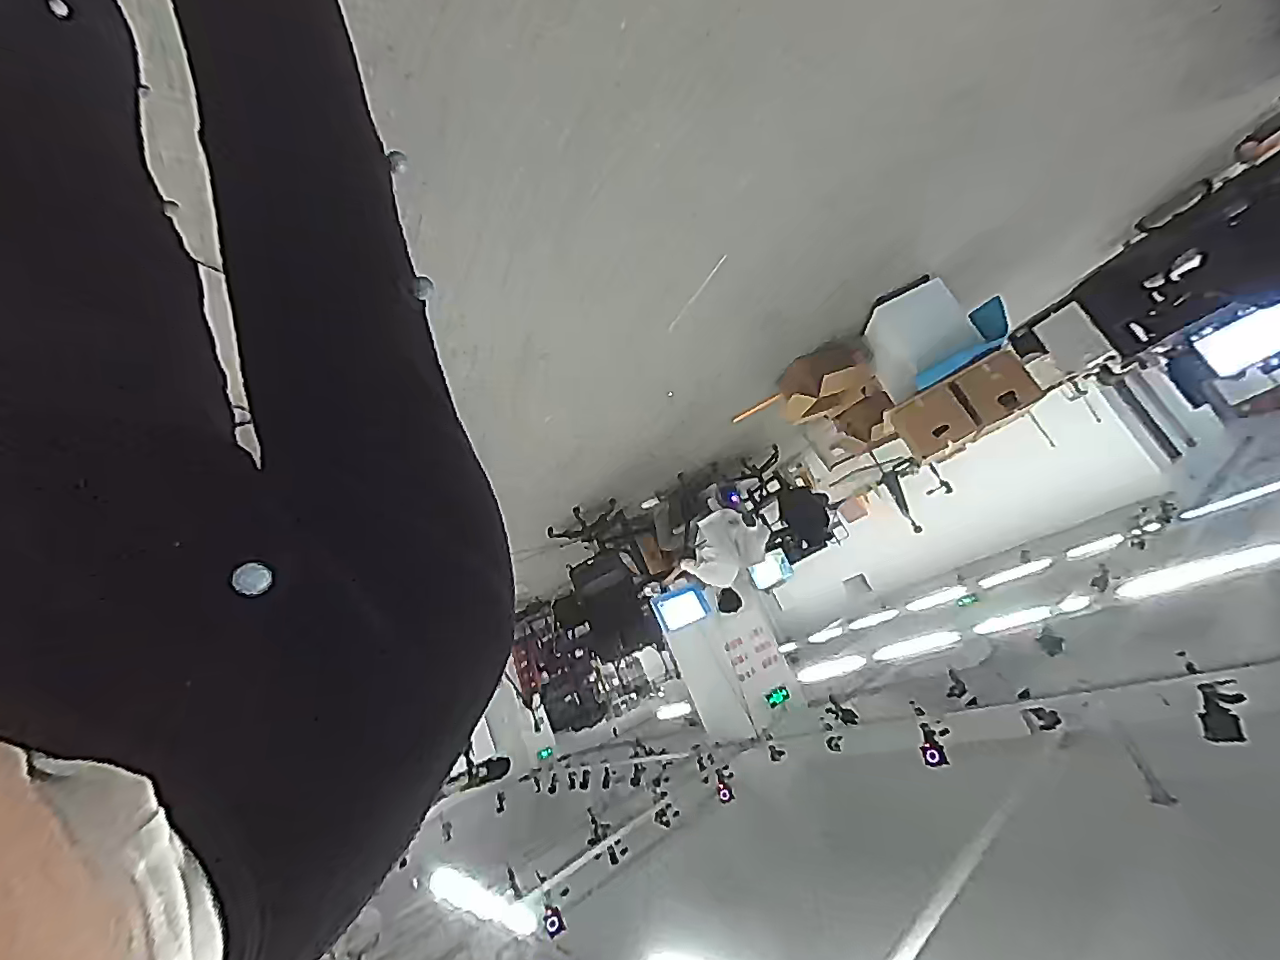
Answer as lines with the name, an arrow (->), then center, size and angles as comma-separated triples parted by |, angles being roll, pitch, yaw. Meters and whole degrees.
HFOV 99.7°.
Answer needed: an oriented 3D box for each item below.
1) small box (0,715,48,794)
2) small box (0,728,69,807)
small box -> -1.741, 0.751, 1.448 | 0.168, 0.176, 0.179 | -15, 163, -38
small box -> -1.905, 0.886, 1.668 | 0.168, 0.176, 0.179 | -13, 162, -40
